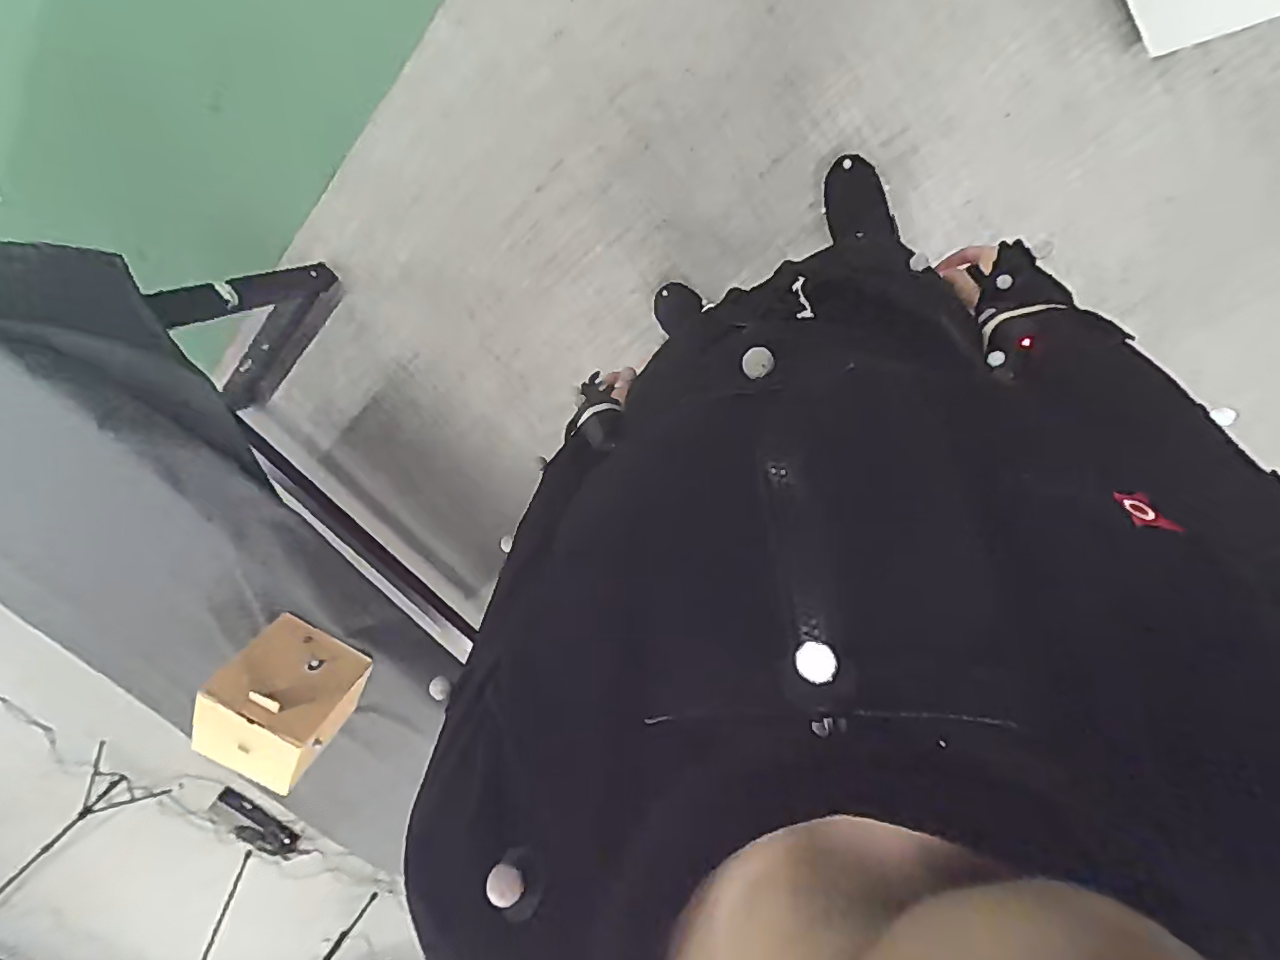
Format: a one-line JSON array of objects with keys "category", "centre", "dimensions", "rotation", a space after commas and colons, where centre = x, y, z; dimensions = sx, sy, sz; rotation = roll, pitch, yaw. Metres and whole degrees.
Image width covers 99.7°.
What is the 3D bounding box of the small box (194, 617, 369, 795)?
[{"category": "small box", "centre": [-0.574, 0.363, 0.880], "dimensions": [0.168, 0.176, 0.179], "rotation": [31, 121, -5]}]
